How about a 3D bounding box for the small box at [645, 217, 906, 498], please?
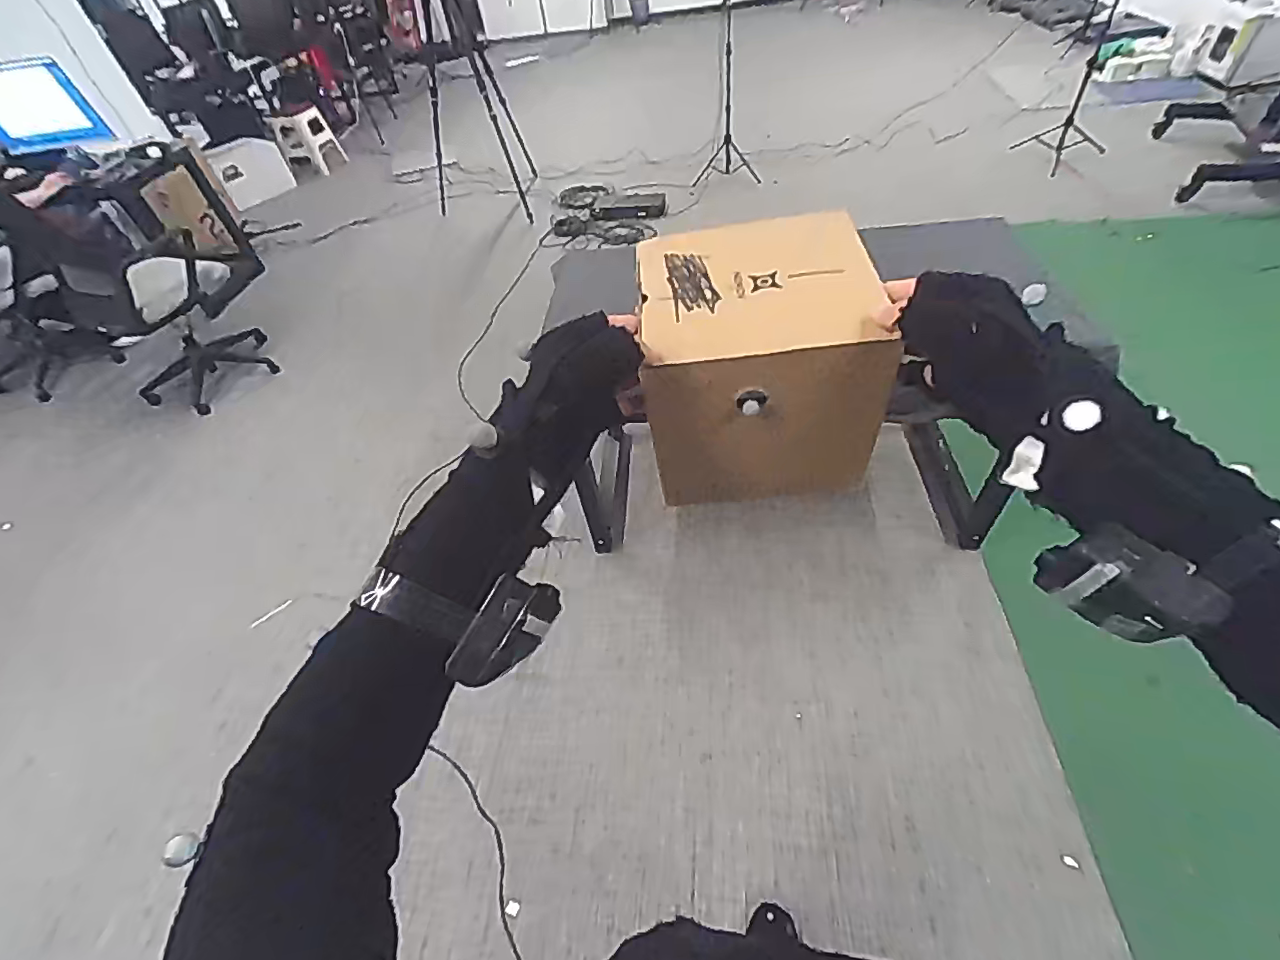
[{"bbox_3d":[0.102,-0.097,0.472,0.179,0.176,0.168,-5,53,6],"label":"small box"}]
